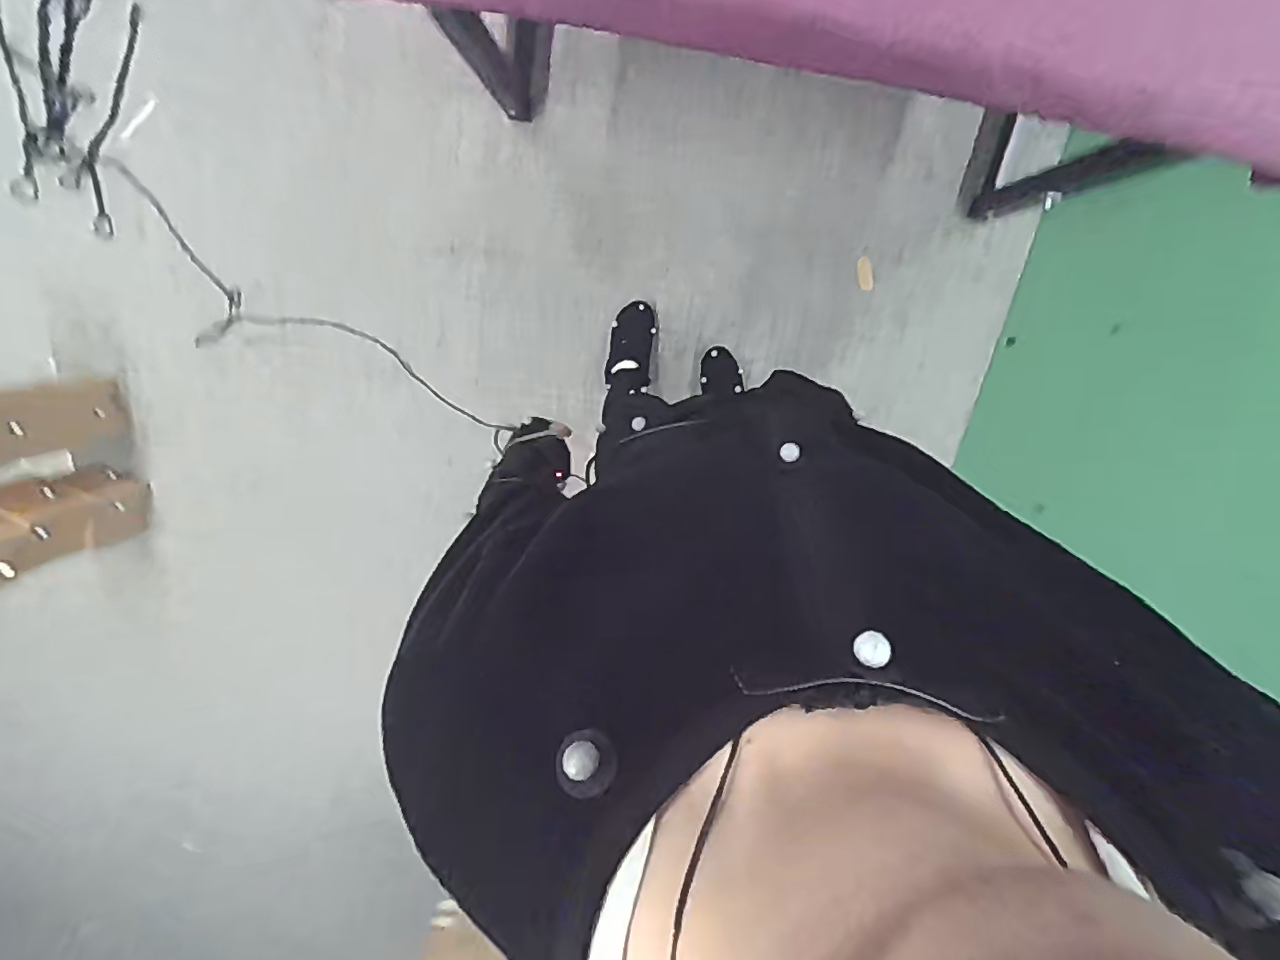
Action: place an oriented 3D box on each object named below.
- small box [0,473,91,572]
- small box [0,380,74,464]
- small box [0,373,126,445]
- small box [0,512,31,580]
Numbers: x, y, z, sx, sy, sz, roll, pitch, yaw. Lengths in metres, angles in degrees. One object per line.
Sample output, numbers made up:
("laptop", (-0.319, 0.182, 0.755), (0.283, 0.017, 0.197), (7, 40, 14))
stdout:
("small box", (-1.571, 0.106, 1.379), (0.168, 0.176, 0.179), (27, 105, -5))
("small box", (-1.541, -0.143, 1.303), (0.168, 0.176, 0.179), (-1, 107, 2))
("small box", (-1.546, -0.197, 1.457), (0.179, 0.176, 0.168), (4, 106, 2))
("small box", (-1.571, 0.155, 1.222), (0.179, 0.176, 0.168), (32, 104, -7))
